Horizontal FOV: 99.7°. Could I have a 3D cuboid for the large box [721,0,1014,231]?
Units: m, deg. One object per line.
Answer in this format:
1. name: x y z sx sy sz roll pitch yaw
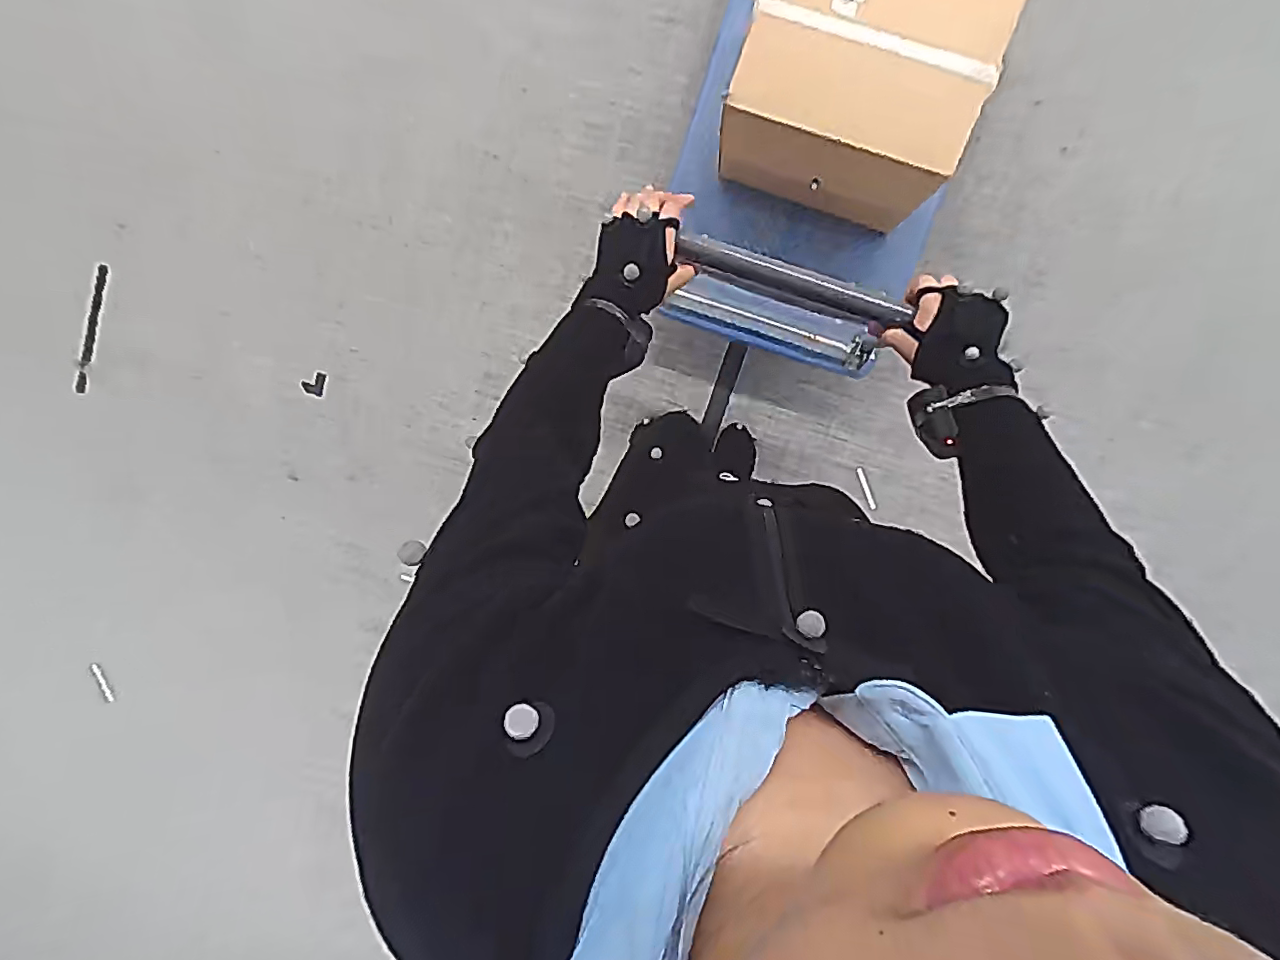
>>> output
1. large box: 0.399 -0.737 1.058 0.408 0.320 0.320 20 99 4
